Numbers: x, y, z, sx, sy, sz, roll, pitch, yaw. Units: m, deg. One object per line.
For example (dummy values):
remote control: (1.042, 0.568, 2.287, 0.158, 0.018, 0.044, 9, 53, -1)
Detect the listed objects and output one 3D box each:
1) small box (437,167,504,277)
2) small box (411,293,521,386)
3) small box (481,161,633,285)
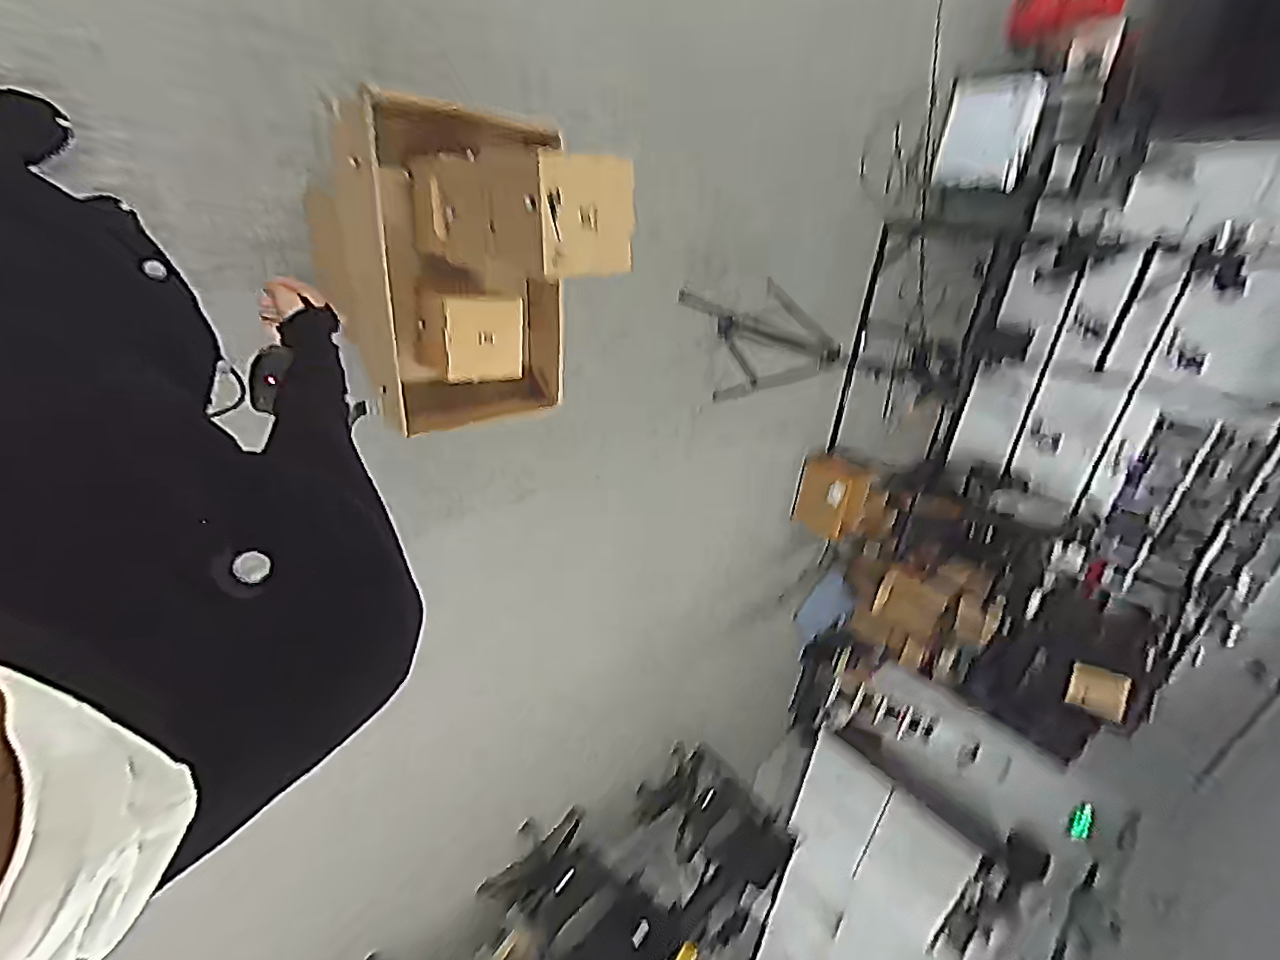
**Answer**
small box: (-0.245, -0.470, 0.985, 0.179, 0.176, 0.168, -20, 124, -37)
small box: (-0.381, -0.313, 1.187, 0.179, 0.176, 0.168, -14, 121, -40)
small box: (-0.134, -0.416, 0.876, 0.179, 0.176, 0.168, -21, 125, -39)
